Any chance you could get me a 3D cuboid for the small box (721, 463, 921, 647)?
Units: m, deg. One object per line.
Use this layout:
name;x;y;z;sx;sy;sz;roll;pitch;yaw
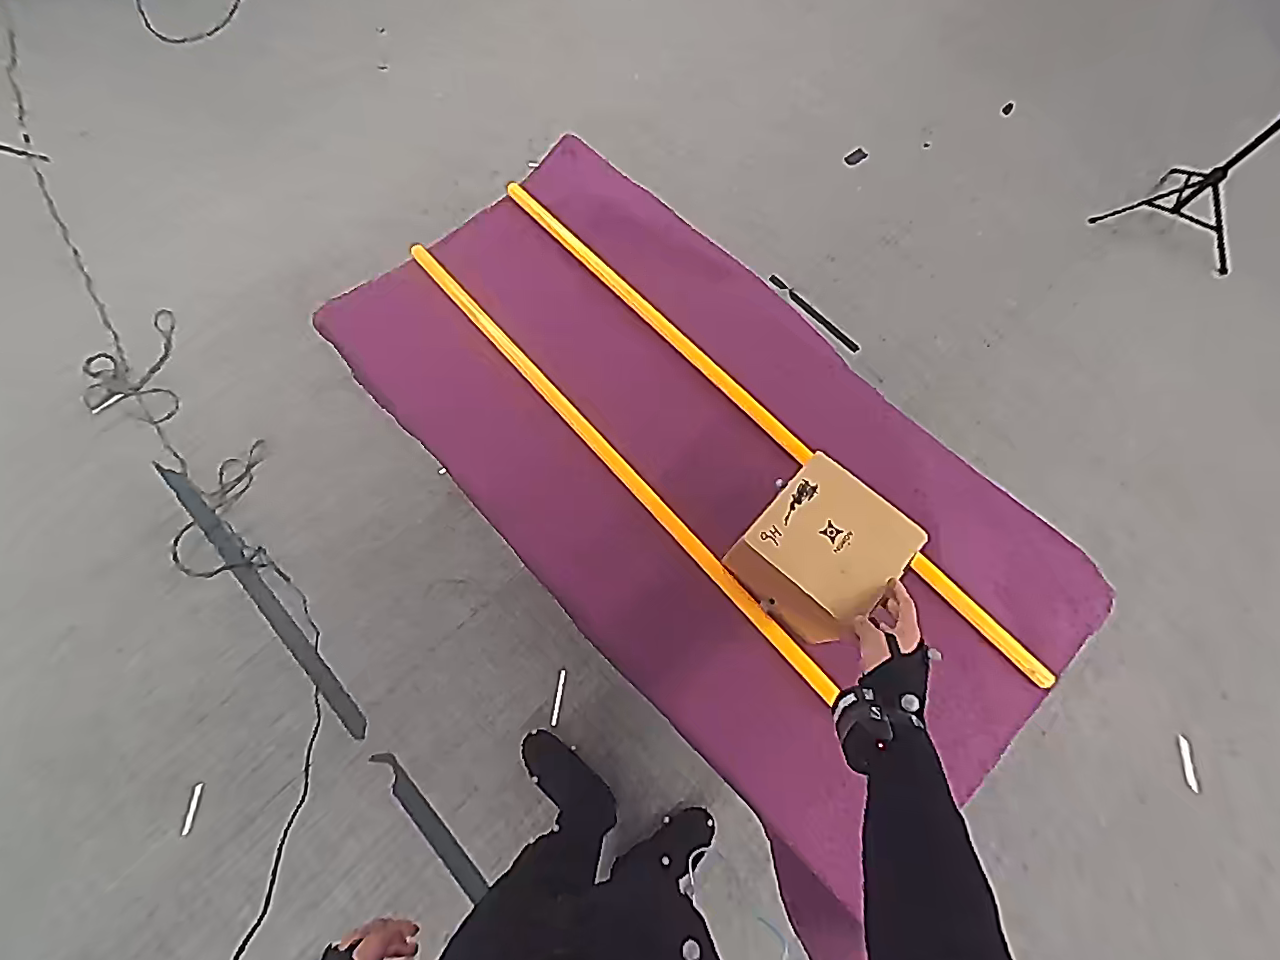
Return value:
small box;0.237;0.111;0.755;0.179;0.176;0.168;42;75;11
